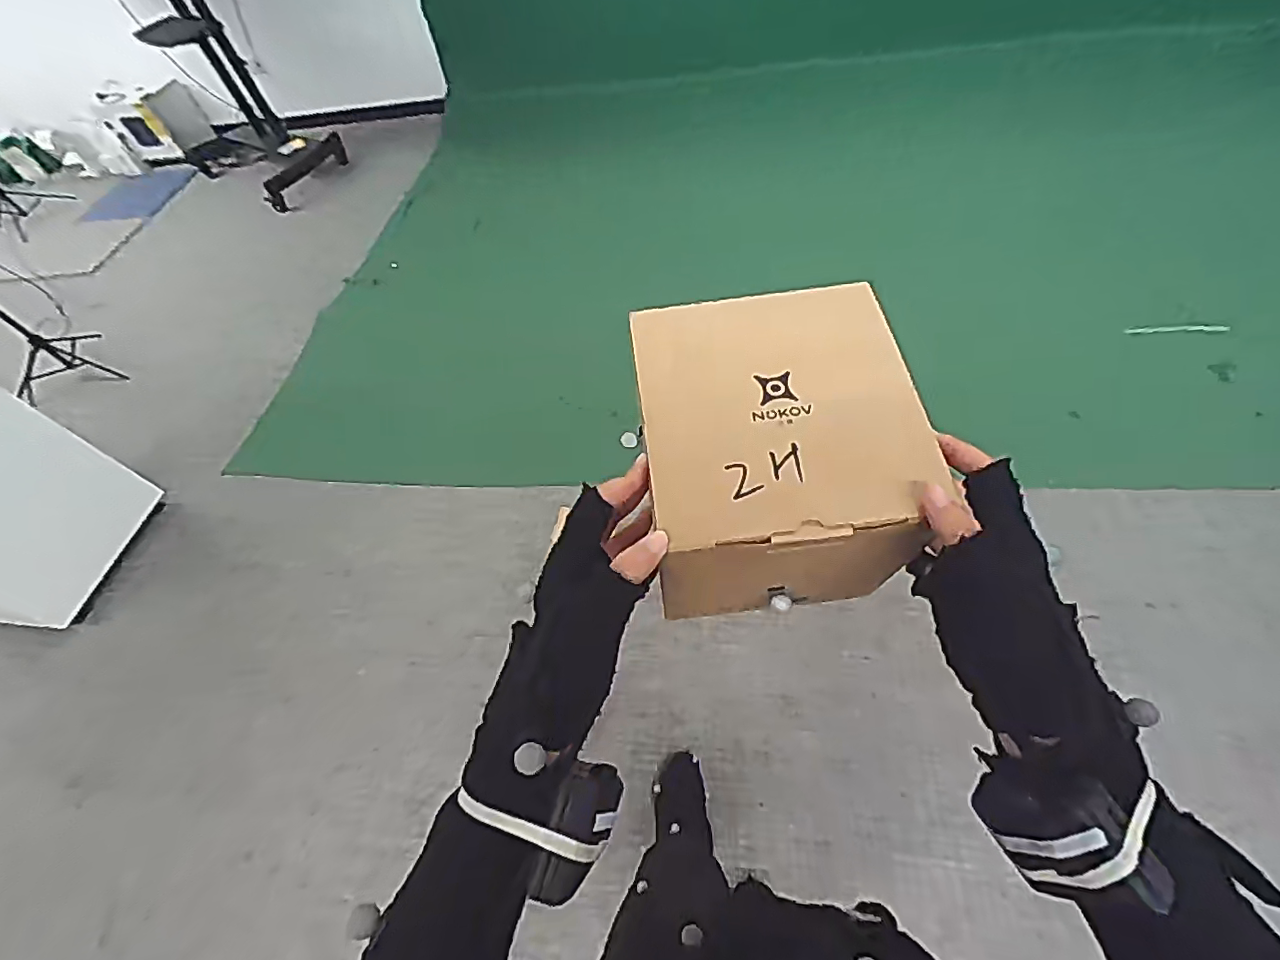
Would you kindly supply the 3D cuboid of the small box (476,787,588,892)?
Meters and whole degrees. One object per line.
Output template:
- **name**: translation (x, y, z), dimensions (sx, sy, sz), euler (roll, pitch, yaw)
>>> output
- **small box**: translation (-0.224, 0.776, 1.169), dimensions (0.179, 0.176, 0.168), euler (1, 56, 9)
